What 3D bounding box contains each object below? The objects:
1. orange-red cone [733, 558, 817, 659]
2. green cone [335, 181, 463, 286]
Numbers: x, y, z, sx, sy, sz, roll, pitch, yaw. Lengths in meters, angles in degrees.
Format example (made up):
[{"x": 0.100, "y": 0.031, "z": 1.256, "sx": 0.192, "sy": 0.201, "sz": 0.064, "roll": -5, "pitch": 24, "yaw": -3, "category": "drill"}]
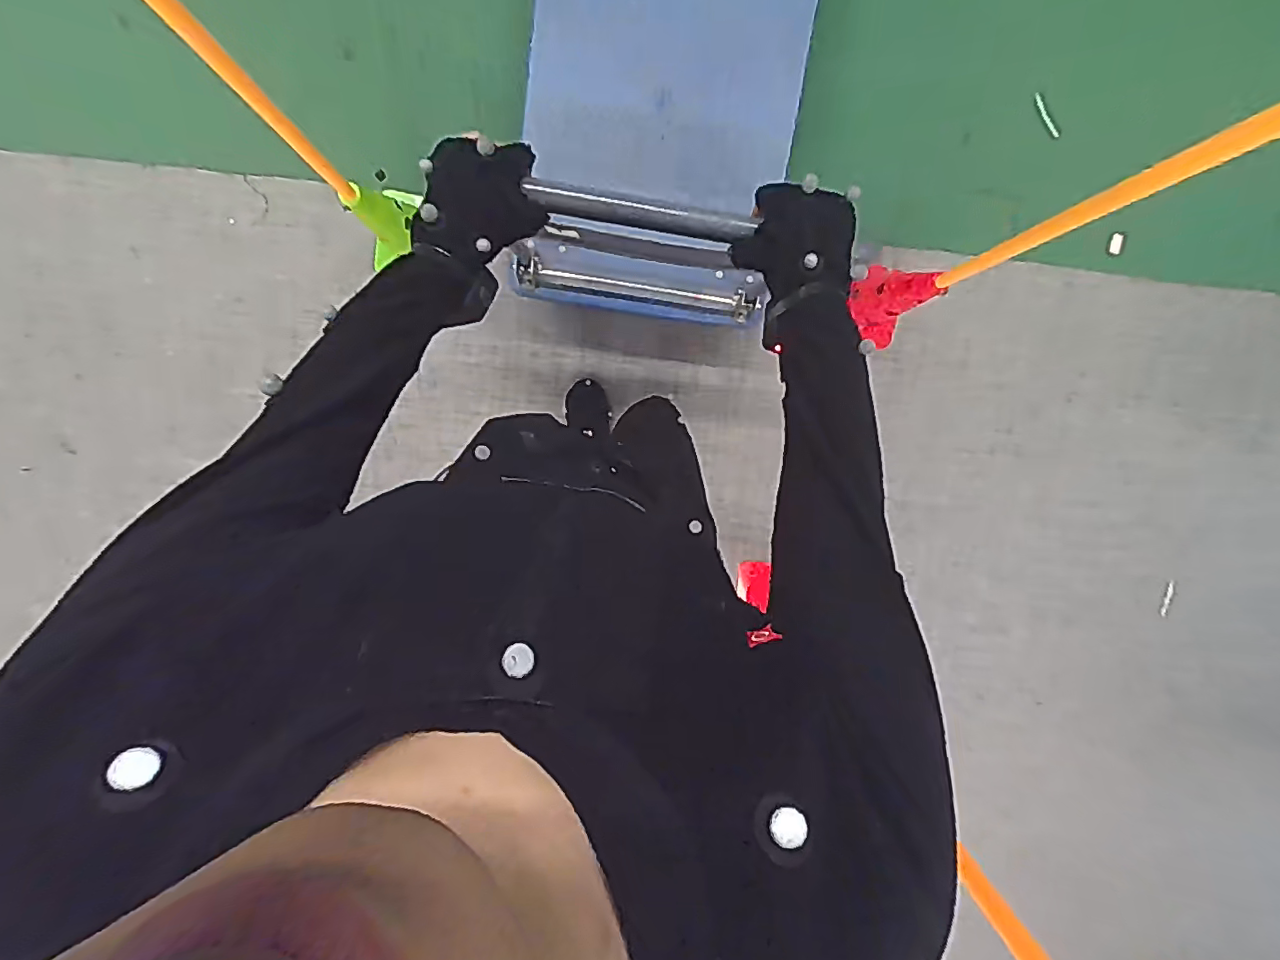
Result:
[{"x": 0.376, "y": 0.356, "z": 1.390, "sx": 0.199, "sy": 0.360, "sz": 0.198, "roll": 5, "pitch": 100, "yaw": -1, "category": "orange-red cone"}, {"x": -0.542, "y": -0.566, "z": 1.170, "sx": 0.202, "sy": 0.368, "sz": 0.200, "roll": 10, "pitch": 100, "yaw": -3, "category": "green cone"}]
